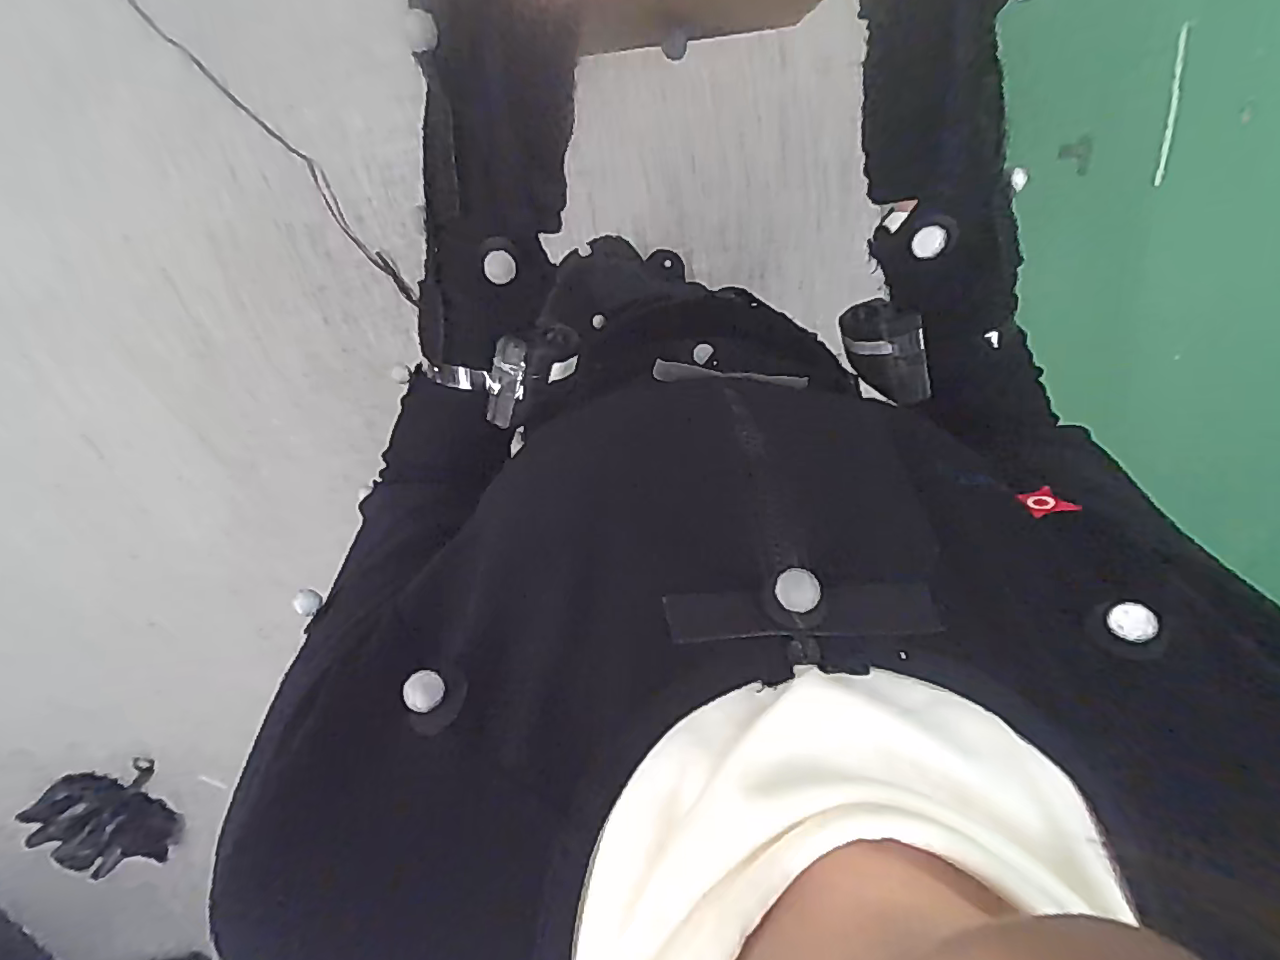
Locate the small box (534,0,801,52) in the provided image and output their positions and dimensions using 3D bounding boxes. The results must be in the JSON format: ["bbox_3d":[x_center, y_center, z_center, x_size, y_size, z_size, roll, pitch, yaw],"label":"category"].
[{"bbox_3d":[0.013,-0.328,0.239,0.168,0.176,0.179,-9,117,0],"label":"small box"}]
